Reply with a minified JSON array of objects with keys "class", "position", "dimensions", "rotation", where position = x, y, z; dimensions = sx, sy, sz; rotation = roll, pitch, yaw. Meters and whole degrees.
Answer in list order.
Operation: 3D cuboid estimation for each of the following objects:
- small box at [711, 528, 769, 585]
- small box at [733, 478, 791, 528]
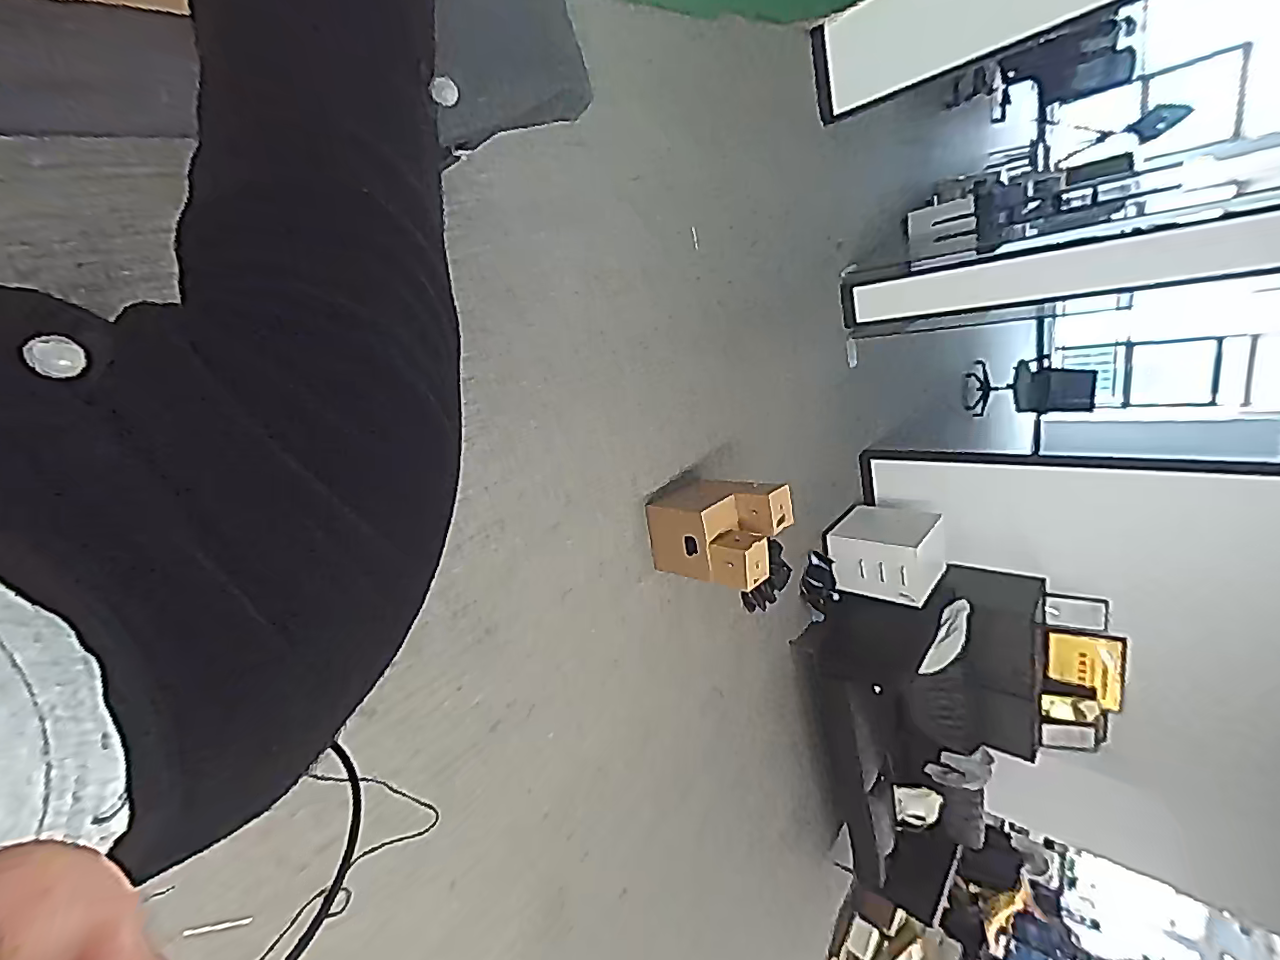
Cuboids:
[{"class":"small box","position":[0.403,0.301,2.189],"dimensions":[0.168,0.176,0.179],"rotation":[-24,111,-44]},{"class":"small box","position":[0.519,0.093,2.299],"dimensions":[0.168,0.176,0.179],"rotation":[-24,107,-44]}]
